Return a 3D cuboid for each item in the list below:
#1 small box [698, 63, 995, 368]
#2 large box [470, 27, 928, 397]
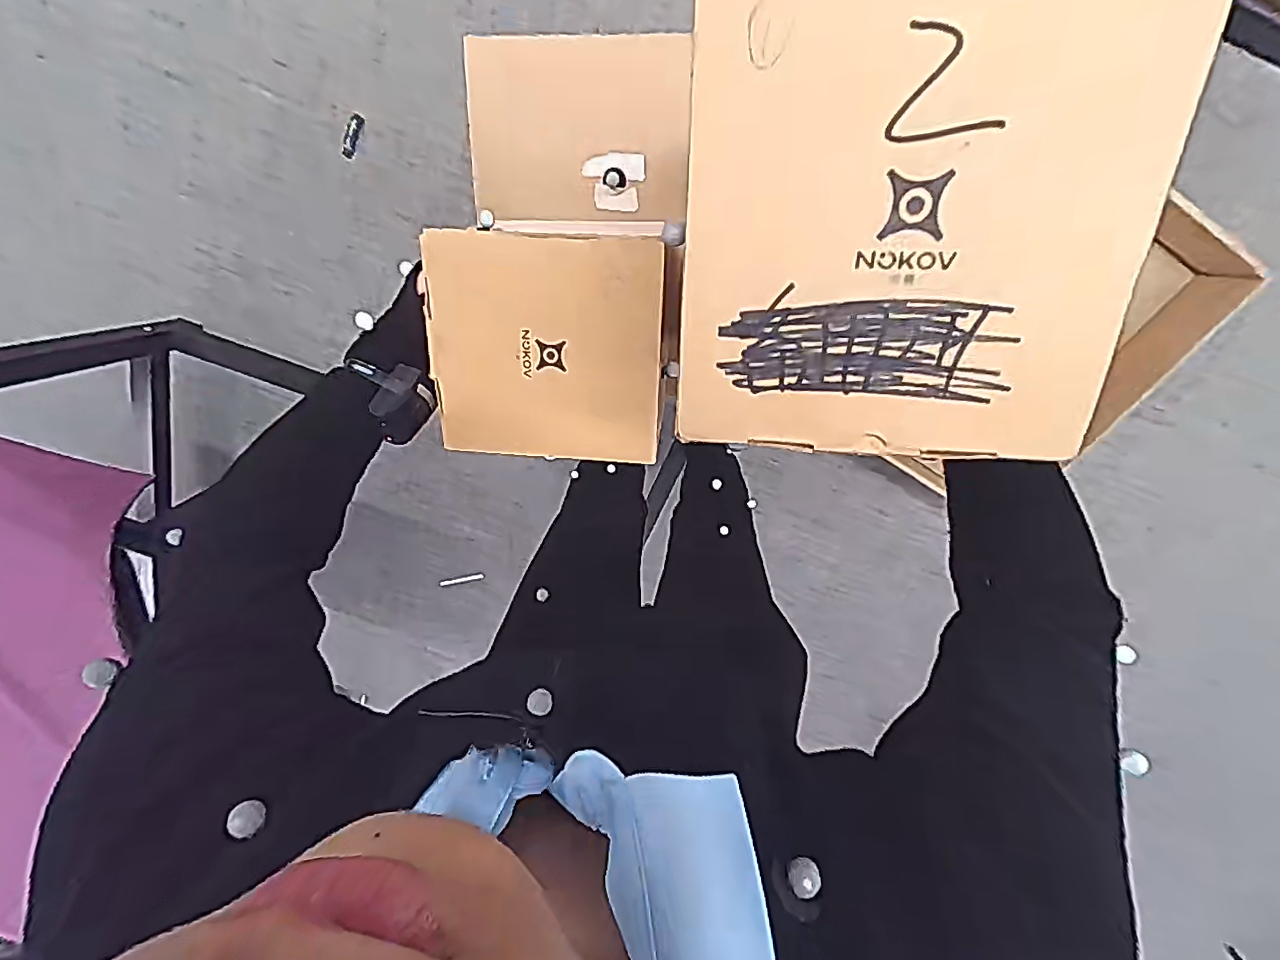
[{"bbox_3d":[0.132,-0.192,0.422,0.168,0.176,0.179,3,113,7],"label":"small box"},{"bbox_3d":[0.062,-0.292,0.656,0.408,0.320,0.320,3,112,6],"label":"large box"}]
